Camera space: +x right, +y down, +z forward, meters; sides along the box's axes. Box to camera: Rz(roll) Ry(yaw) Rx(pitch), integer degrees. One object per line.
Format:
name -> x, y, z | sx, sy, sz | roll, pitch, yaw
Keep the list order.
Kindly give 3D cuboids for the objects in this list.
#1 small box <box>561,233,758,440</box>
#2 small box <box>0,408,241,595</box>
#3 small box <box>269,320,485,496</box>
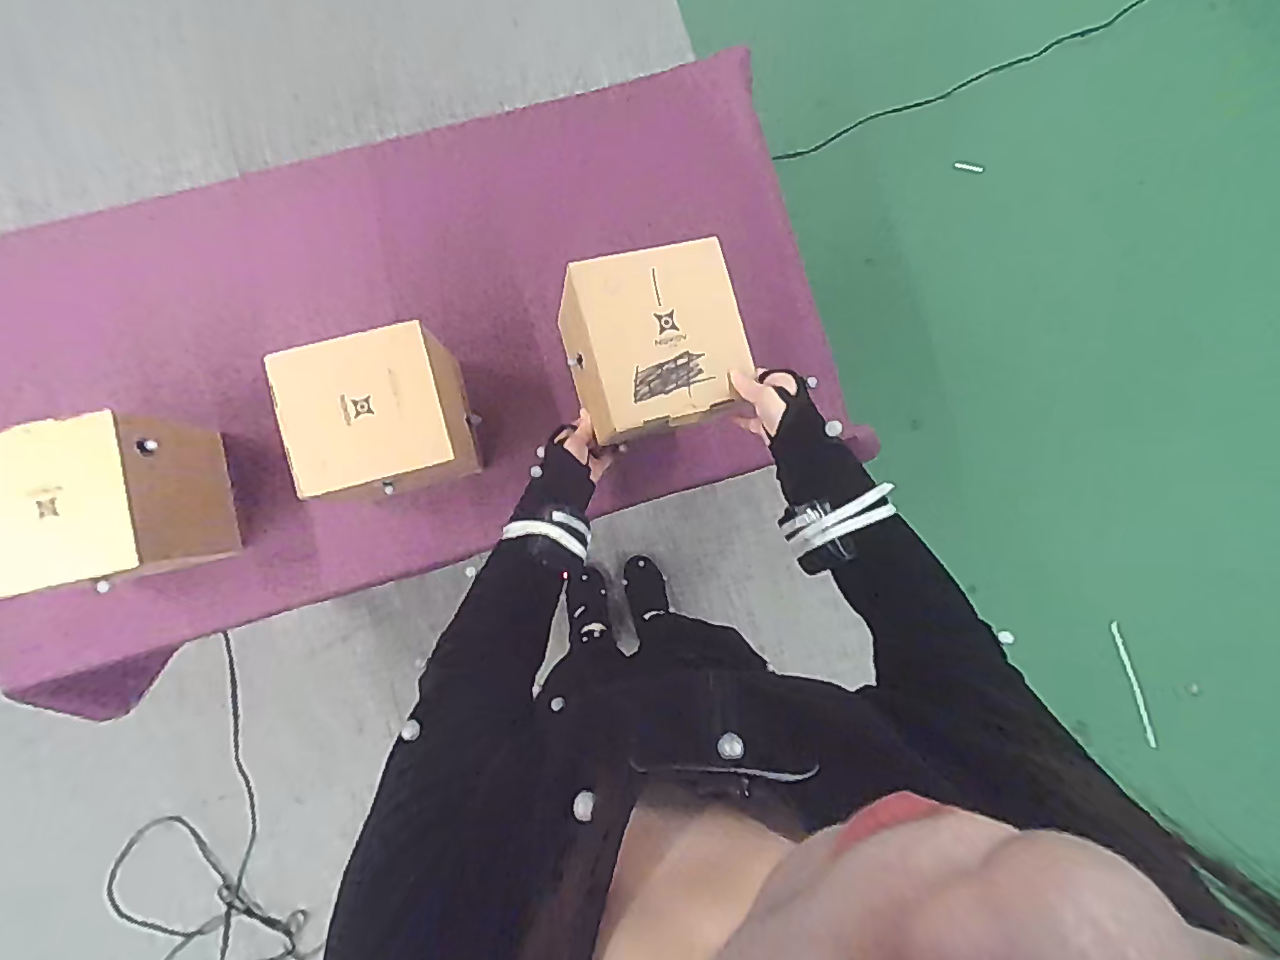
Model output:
small box -> 0.011, -0.150, 0.623 | 0.168, 0.176, 0.179 | -16, 89, -12
small box -> -0.631, 0.026, 0.660 | 0.168, 0.176, 0.179 | -13, 86, -3
small box -> -0.315, -0.078, 0.681 | 0.179, 0.176, 0.168 | -14, 88, -4
